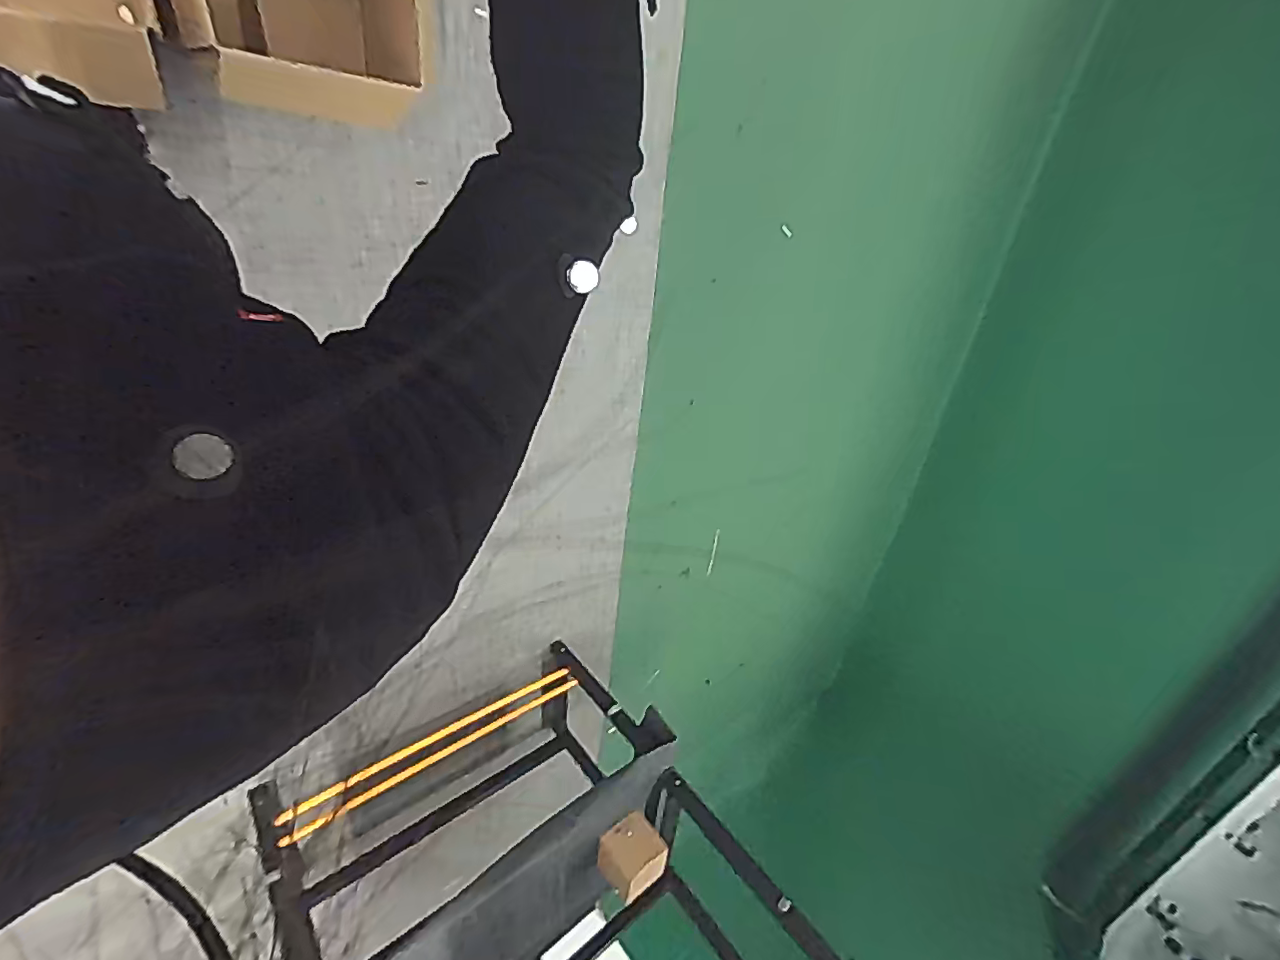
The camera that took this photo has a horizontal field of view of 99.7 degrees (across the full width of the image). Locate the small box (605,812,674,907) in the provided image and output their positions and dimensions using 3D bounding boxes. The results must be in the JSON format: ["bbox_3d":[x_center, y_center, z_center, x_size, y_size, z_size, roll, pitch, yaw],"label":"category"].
[{"bbox_3d":[-0.006,1.295,1.856,0.168,0.176,0.179,-18,127,-37],"label":"small box"}]
